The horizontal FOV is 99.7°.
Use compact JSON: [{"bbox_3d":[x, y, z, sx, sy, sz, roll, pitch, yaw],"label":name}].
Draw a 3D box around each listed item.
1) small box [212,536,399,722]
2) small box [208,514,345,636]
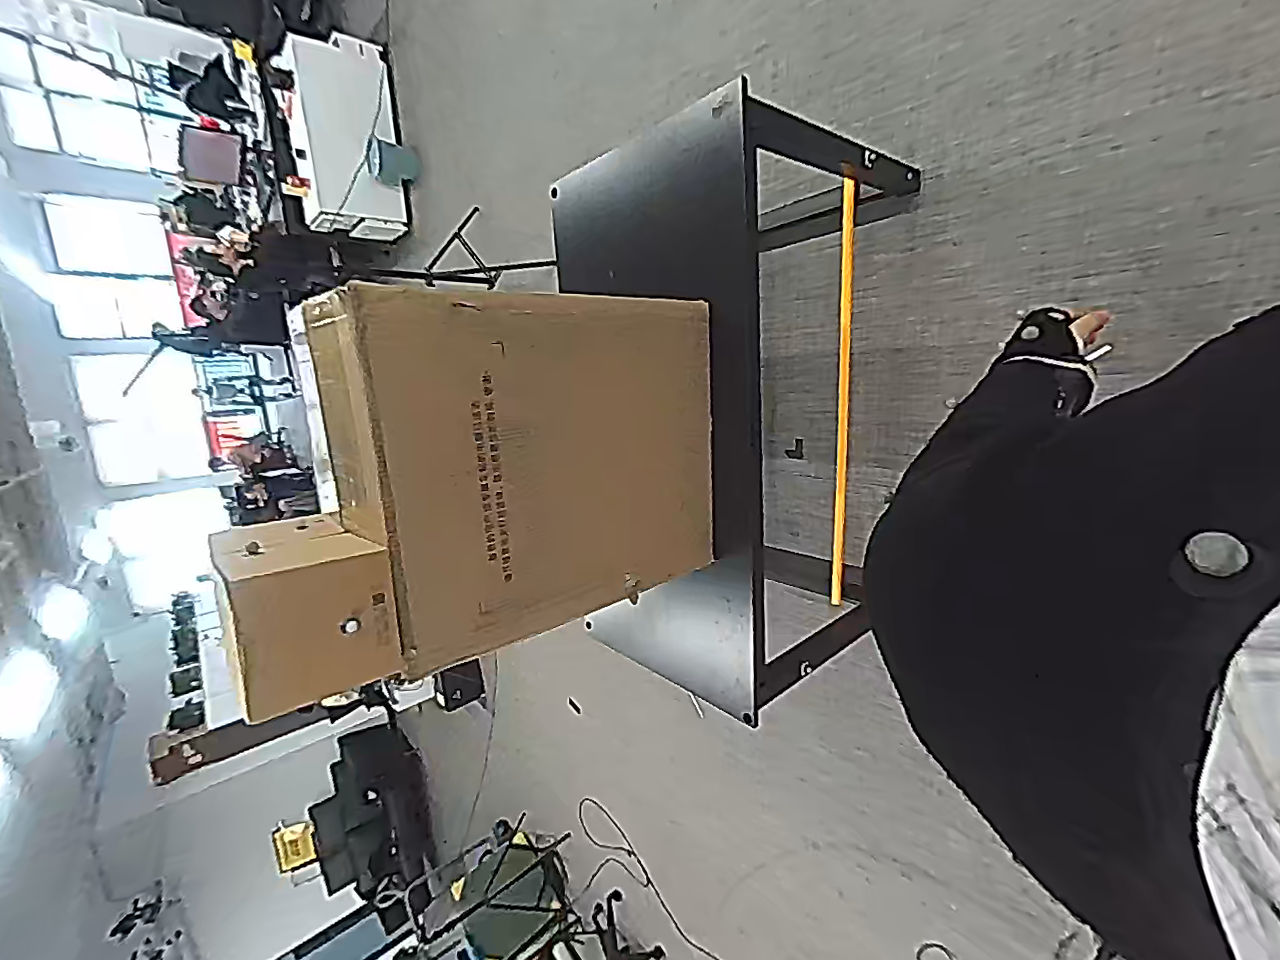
[{"bbox_3d":[-0.430,0.174,0.699,0.179,0.176,0.168,4,101,46],"label":"small box"},{"bbox_3d":[-0.548,0.163,0.838,0.168,0.176,0.179,12,107,50],"label":"small box"}]
